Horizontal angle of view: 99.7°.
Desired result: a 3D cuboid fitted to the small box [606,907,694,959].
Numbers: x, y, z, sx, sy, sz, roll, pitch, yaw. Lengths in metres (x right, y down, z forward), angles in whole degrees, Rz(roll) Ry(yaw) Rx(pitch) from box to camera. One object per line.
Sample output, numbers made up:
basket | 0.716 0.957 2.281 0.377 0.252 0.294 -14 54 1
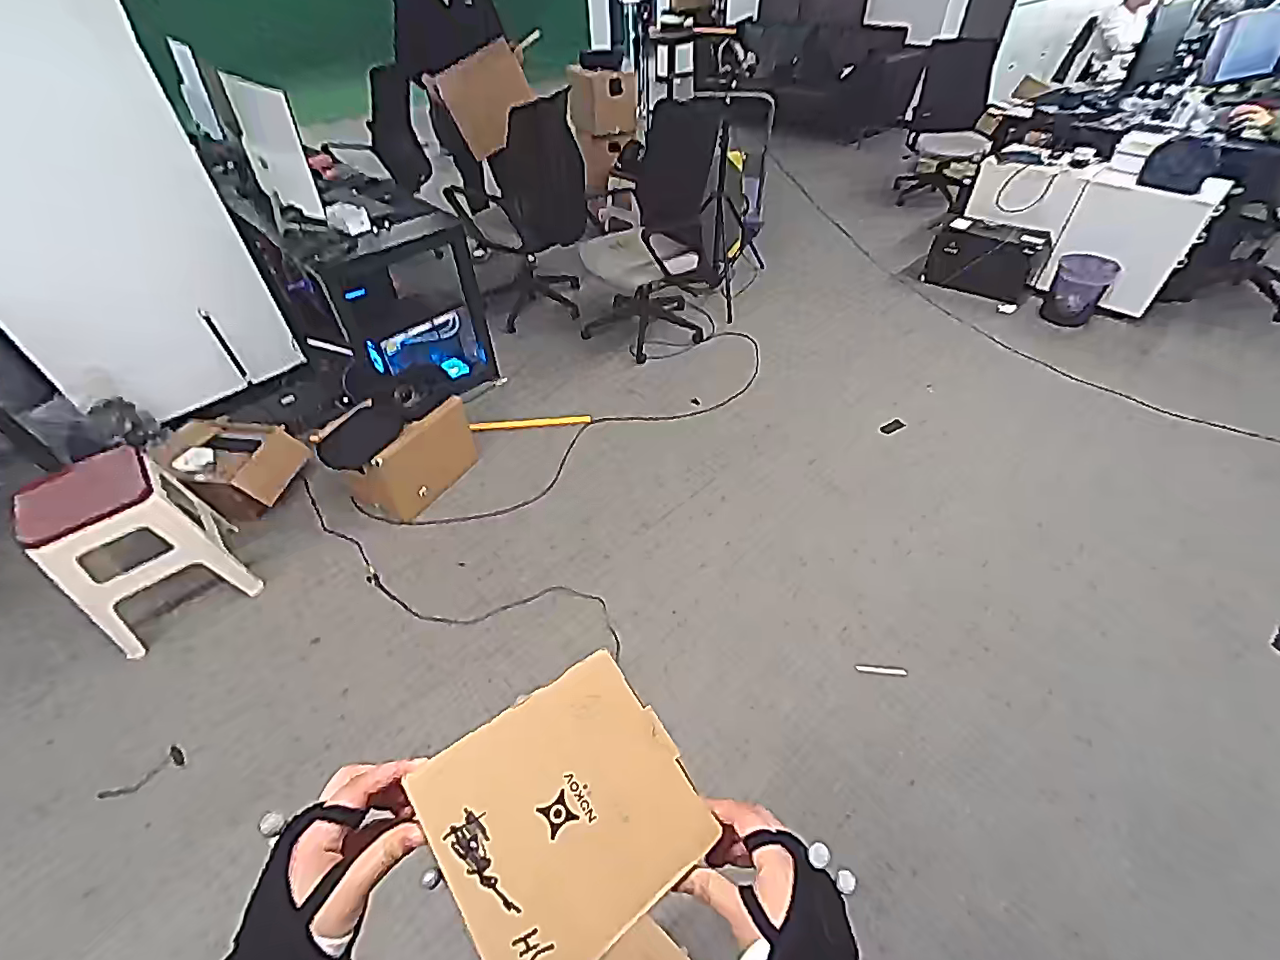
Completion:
small box | 0.012 0.879 0.910 0.168 0.176 0.179 30 52 27
